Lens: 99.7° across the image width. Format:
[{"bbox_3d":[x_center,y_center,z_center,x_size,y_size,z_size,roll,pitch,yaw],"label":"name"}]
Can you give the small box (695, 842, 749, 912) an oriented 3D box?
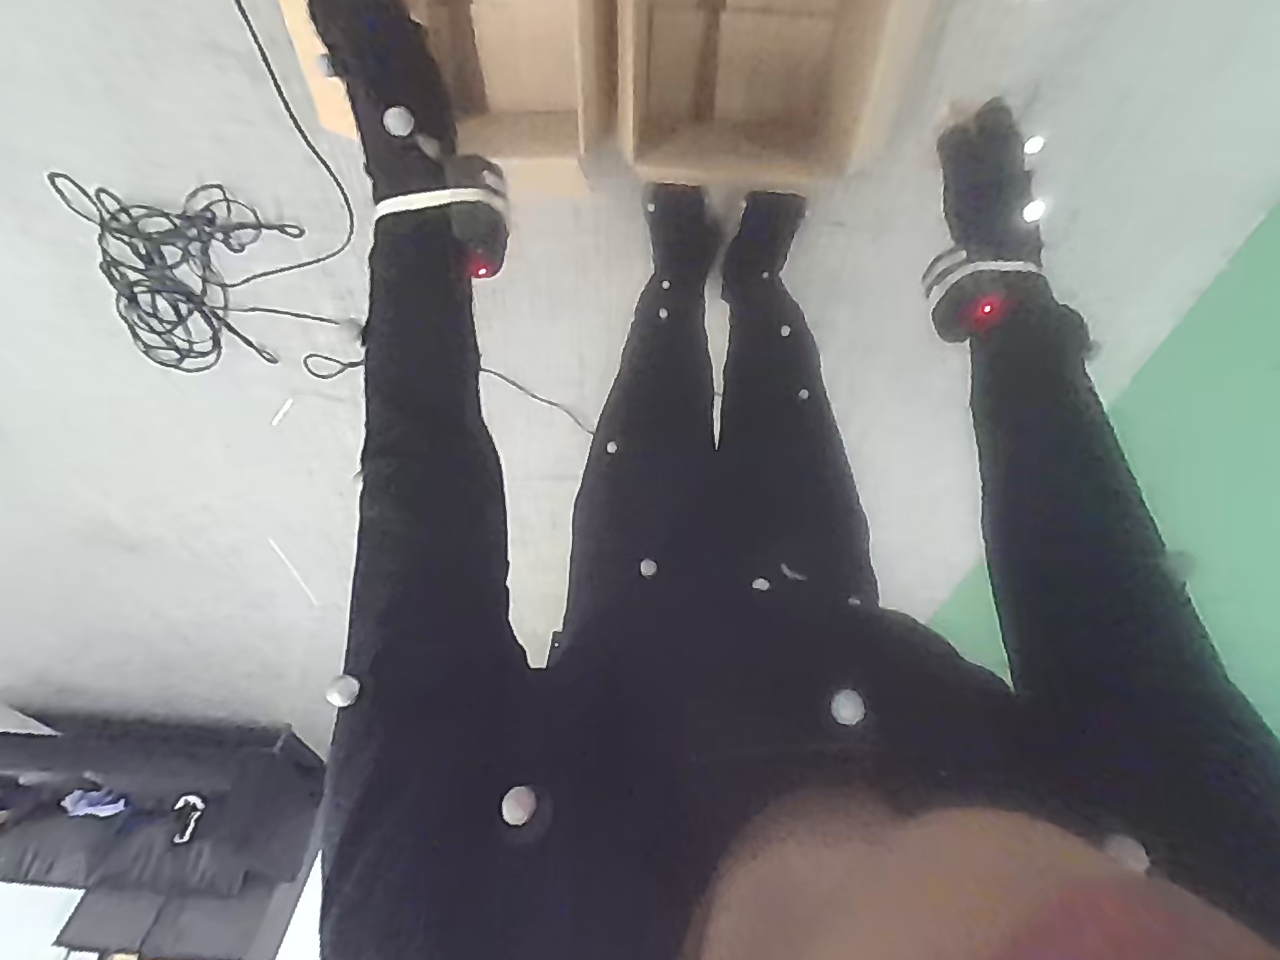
[{"bbox_3d":[0.288,1.416,1.927,0.168,0.176,0.179,5,136,1],"label":"small box"}]
